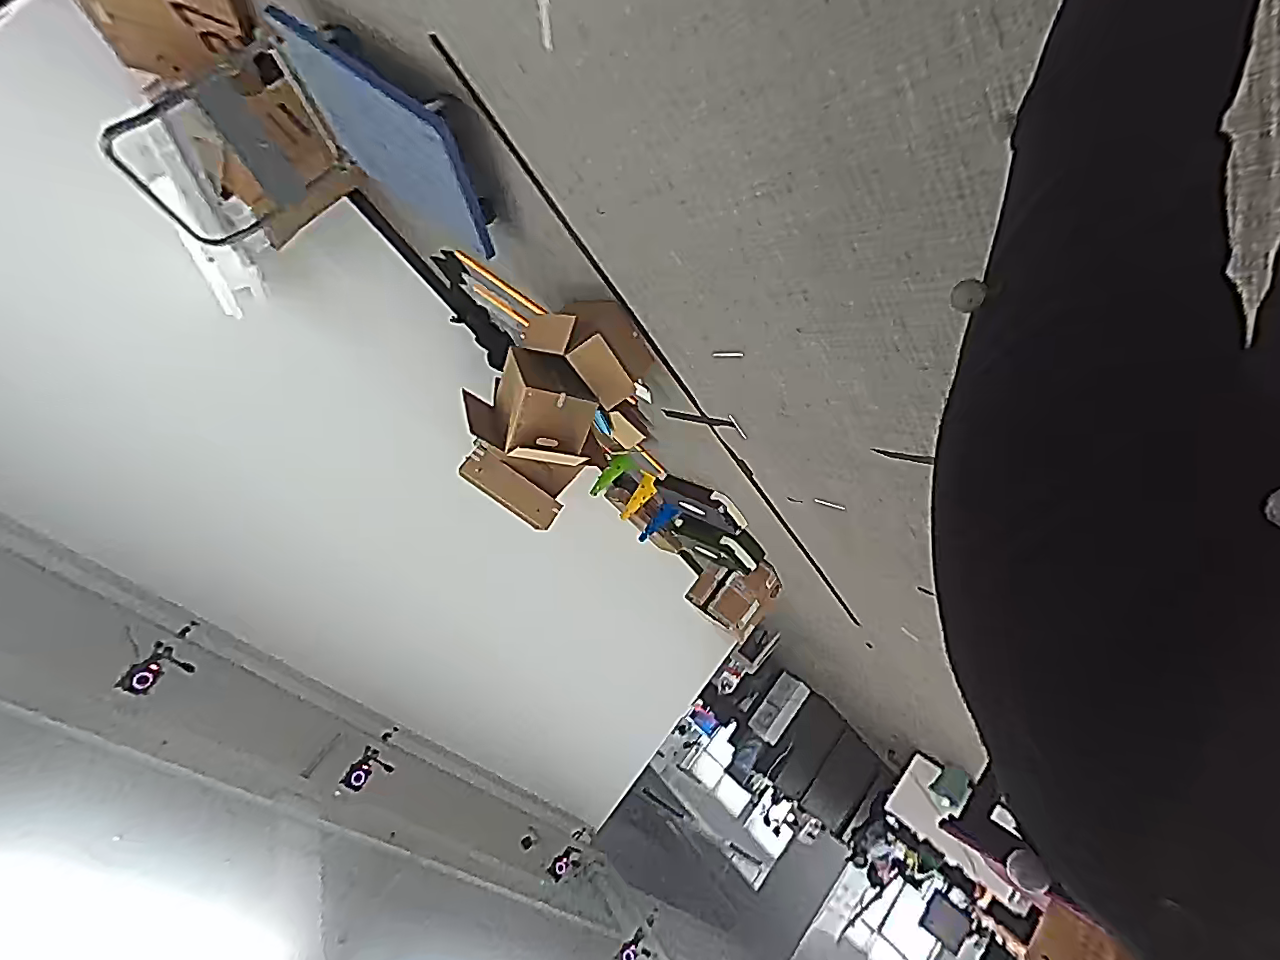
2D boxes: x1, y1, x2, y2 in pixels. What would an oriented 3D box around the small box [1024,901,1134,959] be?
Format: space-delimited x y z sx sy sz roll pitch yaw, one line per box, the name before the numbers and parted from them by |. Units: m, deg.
small box | 1.093 1.197 1.333 0.168 0.176 0.179 48 165 -34
